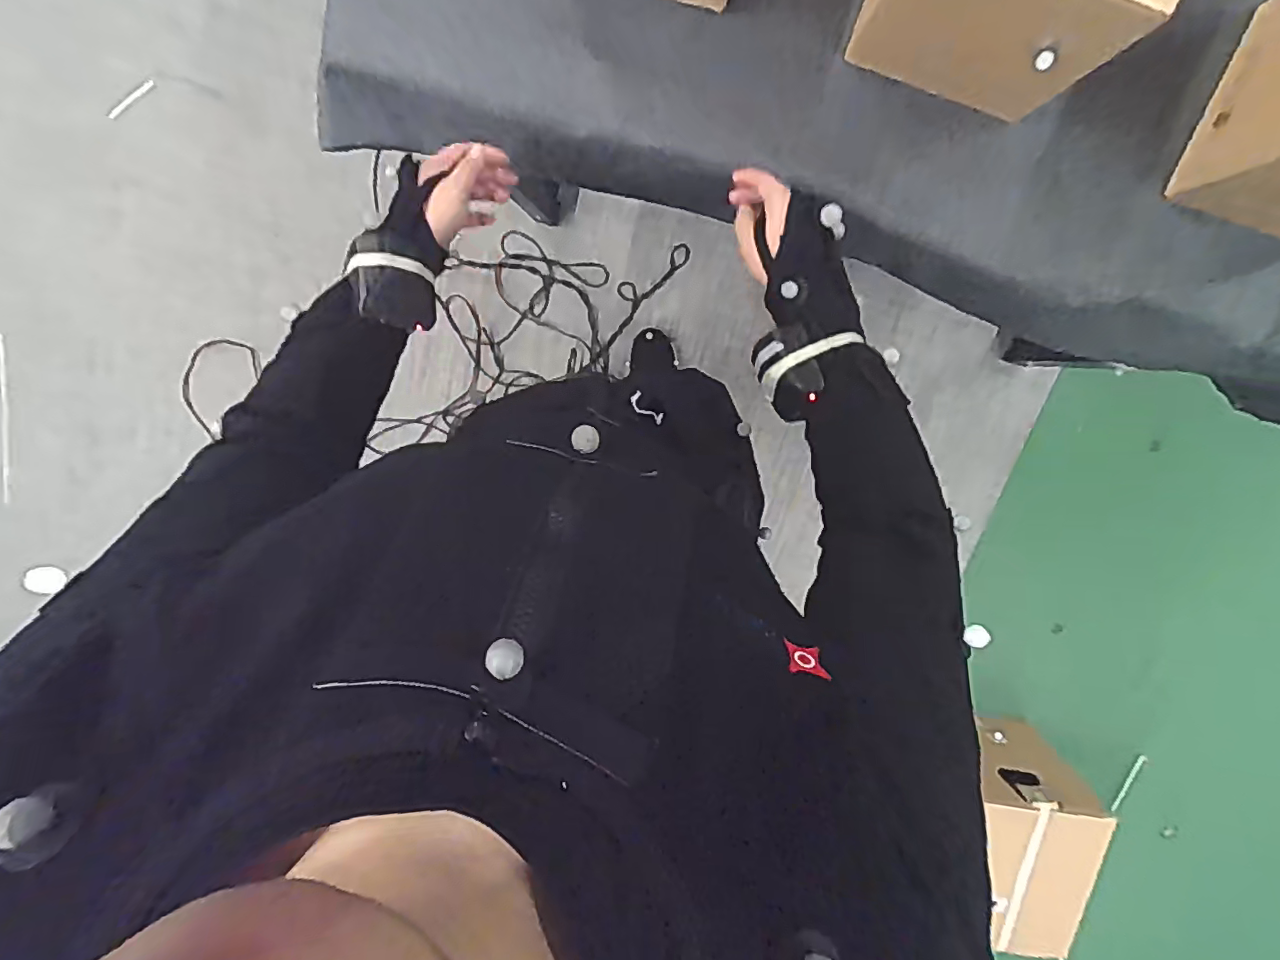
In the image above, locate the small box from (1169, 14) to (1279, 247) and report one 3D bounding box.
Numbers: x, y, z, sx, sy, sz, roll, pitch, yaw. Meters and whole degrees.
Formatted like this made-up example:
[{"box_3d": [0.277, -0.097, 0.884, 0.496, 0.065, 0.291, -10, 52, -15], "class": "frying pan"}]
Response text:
[{"box_3d": [0.594, -0.294, 0.421, 0.179, 0.176, 0.168, 18, 103, -1], "class": "small box"}]
